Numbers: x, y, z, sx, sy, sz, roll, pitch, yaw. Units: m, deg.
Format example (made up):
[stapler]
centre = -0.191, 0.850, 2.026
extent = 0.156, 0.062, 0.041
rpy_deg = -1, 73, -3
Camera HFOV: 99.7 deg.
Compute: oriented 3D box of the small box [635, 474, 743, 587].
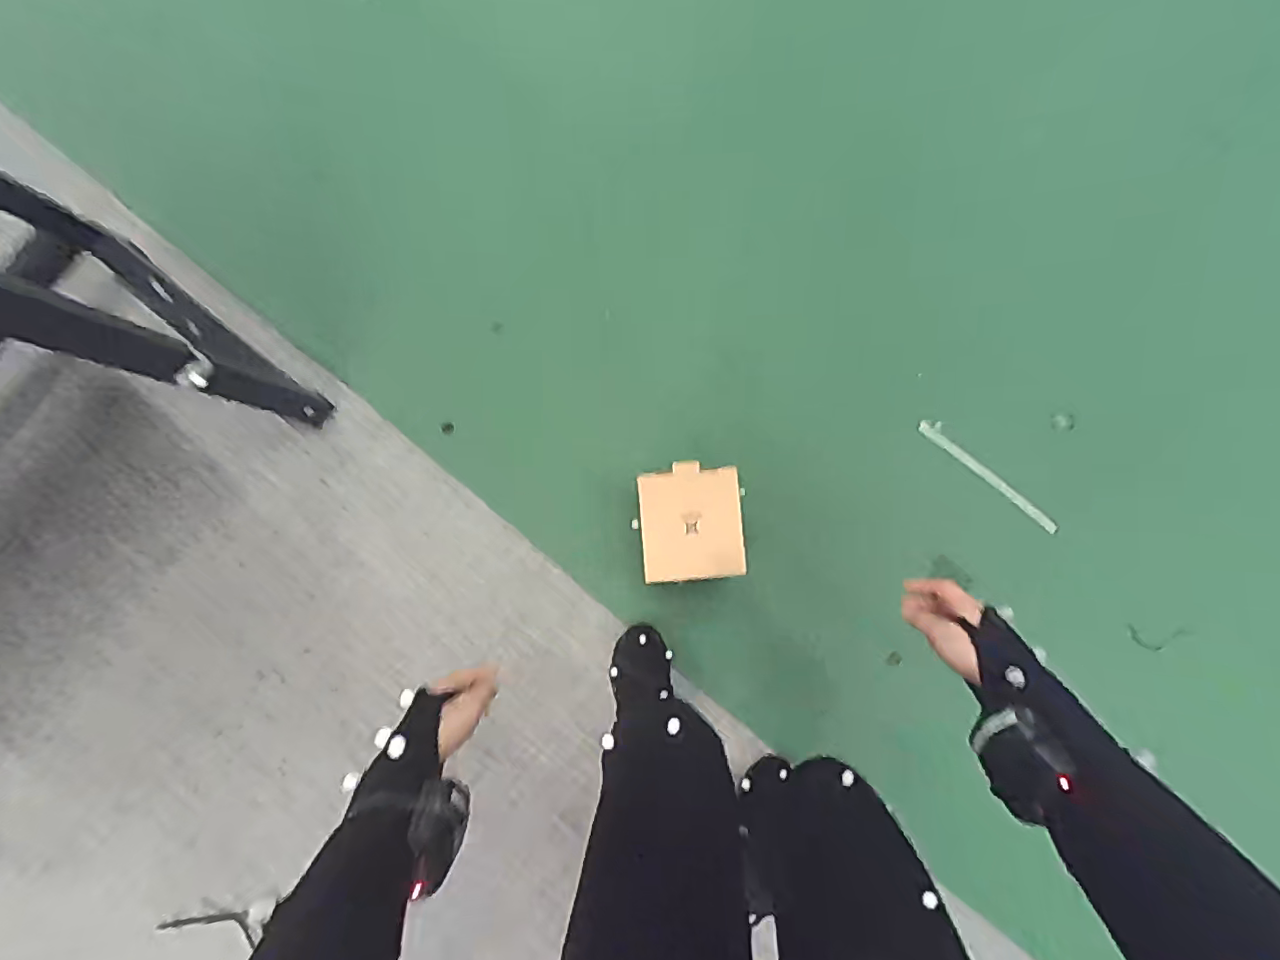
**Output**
[small box]
centre = 0.084, 0.087, 0.955
extent = 0.168, 0.176, 0.179
rpy_deg = -5, 85, 2
